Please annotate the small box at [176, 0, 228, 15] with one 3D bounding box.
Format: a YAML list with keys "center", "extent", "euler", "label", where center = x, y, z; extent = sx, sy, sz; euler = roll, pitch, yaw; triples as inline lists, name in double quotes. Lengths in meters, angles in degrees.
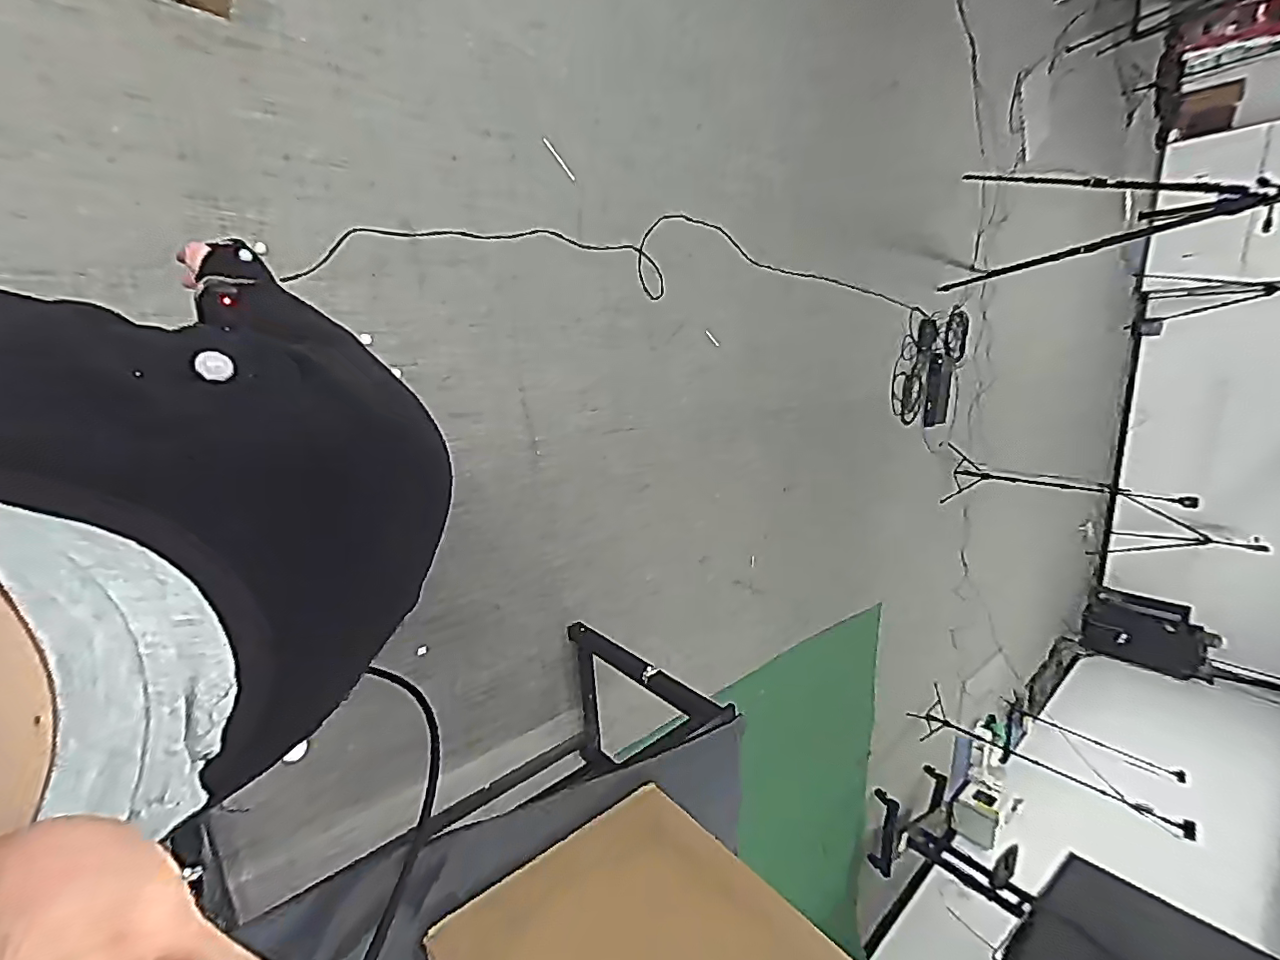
- center: [-0.895, -1.052, 1.028]
  extent: [0.168, 0.176, 0.179]
  euler: [-8, 105, -38]
  label: "small box"
